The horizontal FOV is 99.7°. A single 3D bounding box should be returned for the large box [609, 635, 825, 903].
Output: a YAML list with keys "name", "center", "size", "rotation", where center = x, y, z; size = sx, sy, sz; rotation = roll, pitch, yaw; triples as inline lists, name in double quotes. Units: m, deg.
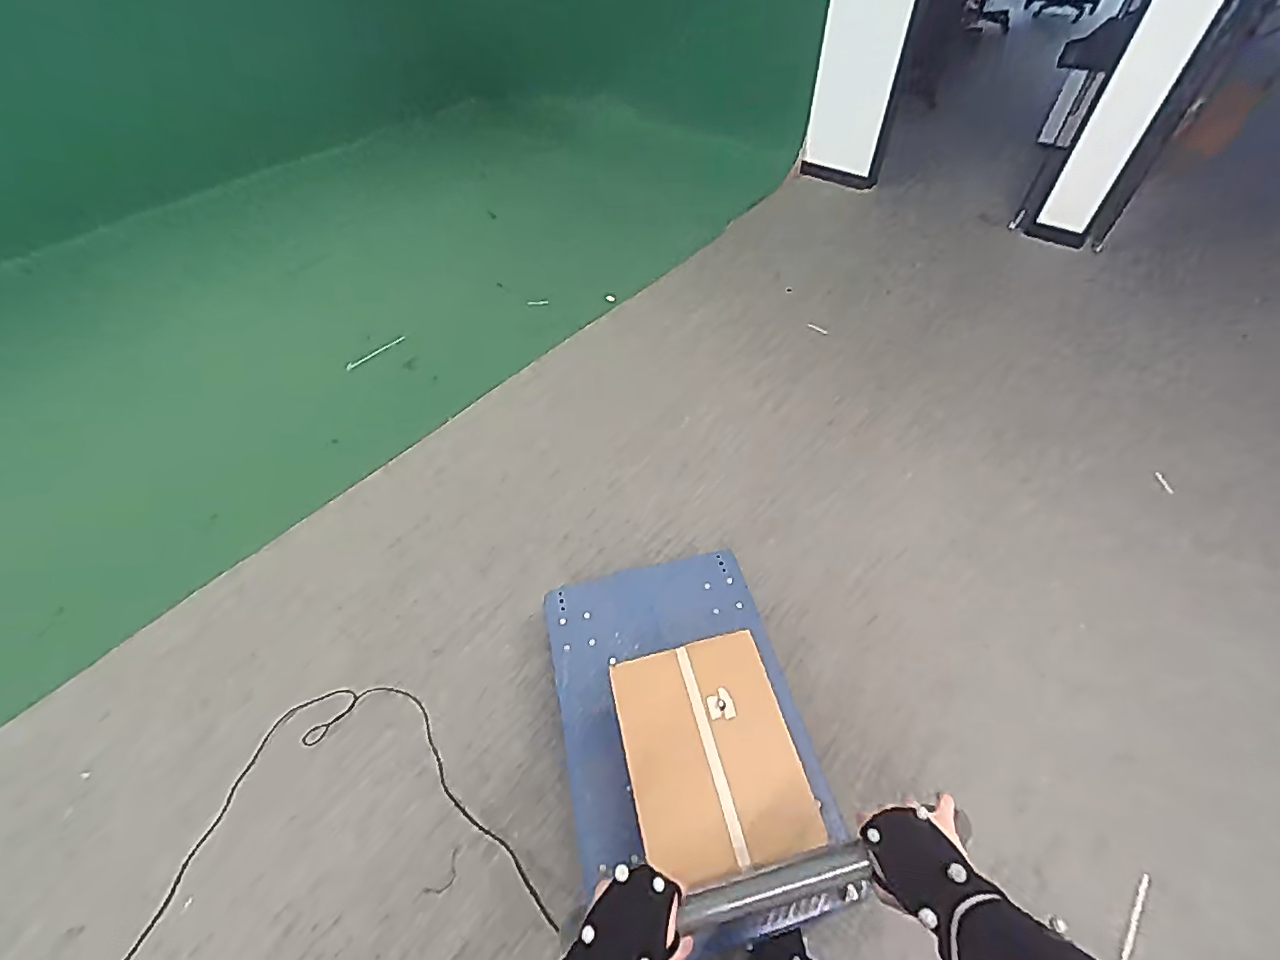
- name: "large box"
  center: [0.140, 0.611, 1.154]
  size: [0.320, 0.320, 0.408]
  rotation: [-13, 50, -6]
